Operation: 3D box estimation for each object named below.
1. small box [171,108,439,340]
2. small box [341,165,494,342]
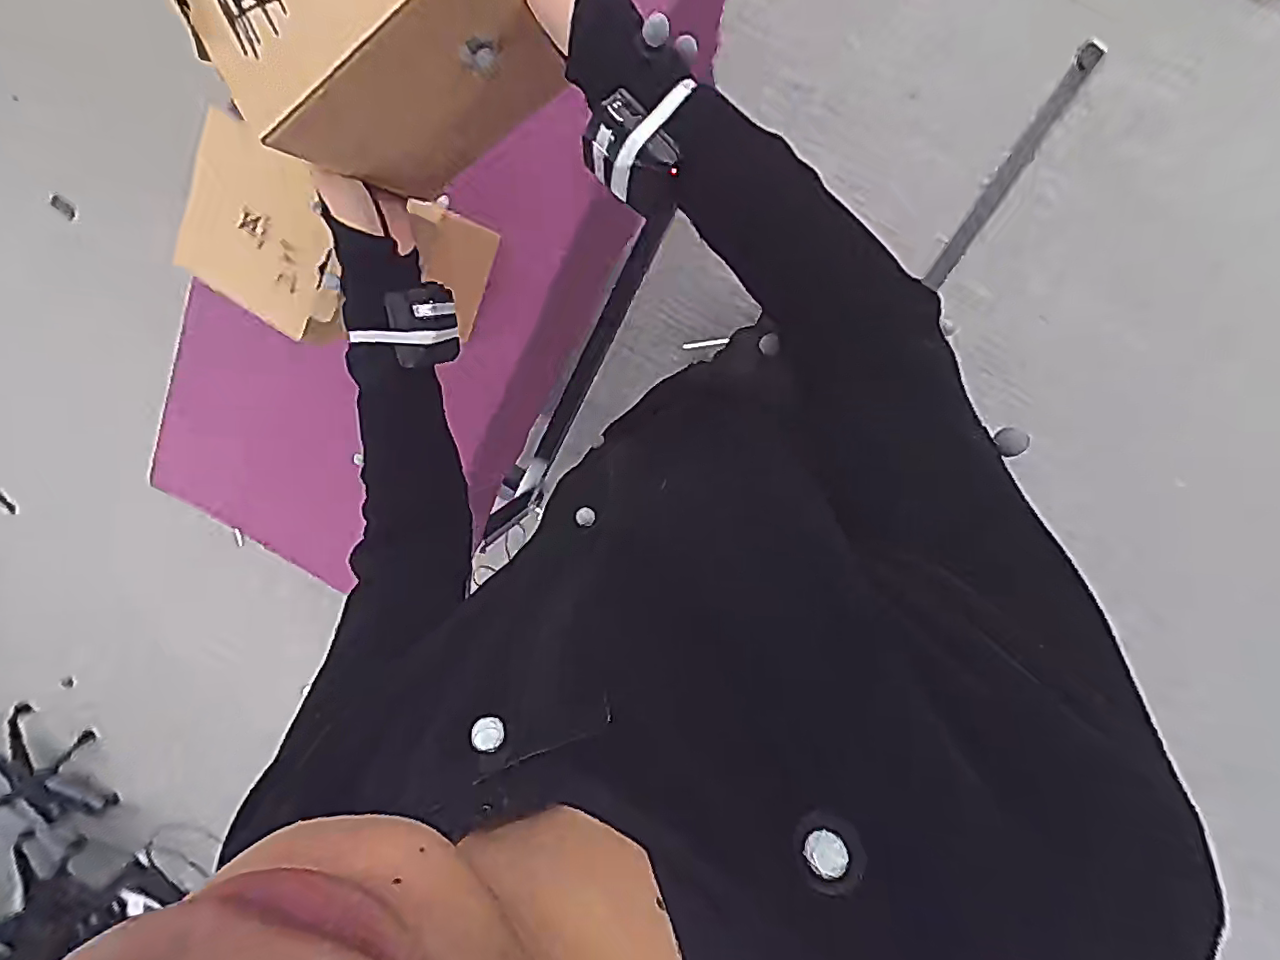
[{"bbox_3d":[-0.374,-0.274,0.625,0.179,0.176,0.168,32,109,3],"label":"small box"},{"bbox_3d":[-0.336,-0.313,0.780,0.168,0.176,0.179,26,108,4],"label":"small box"}]
